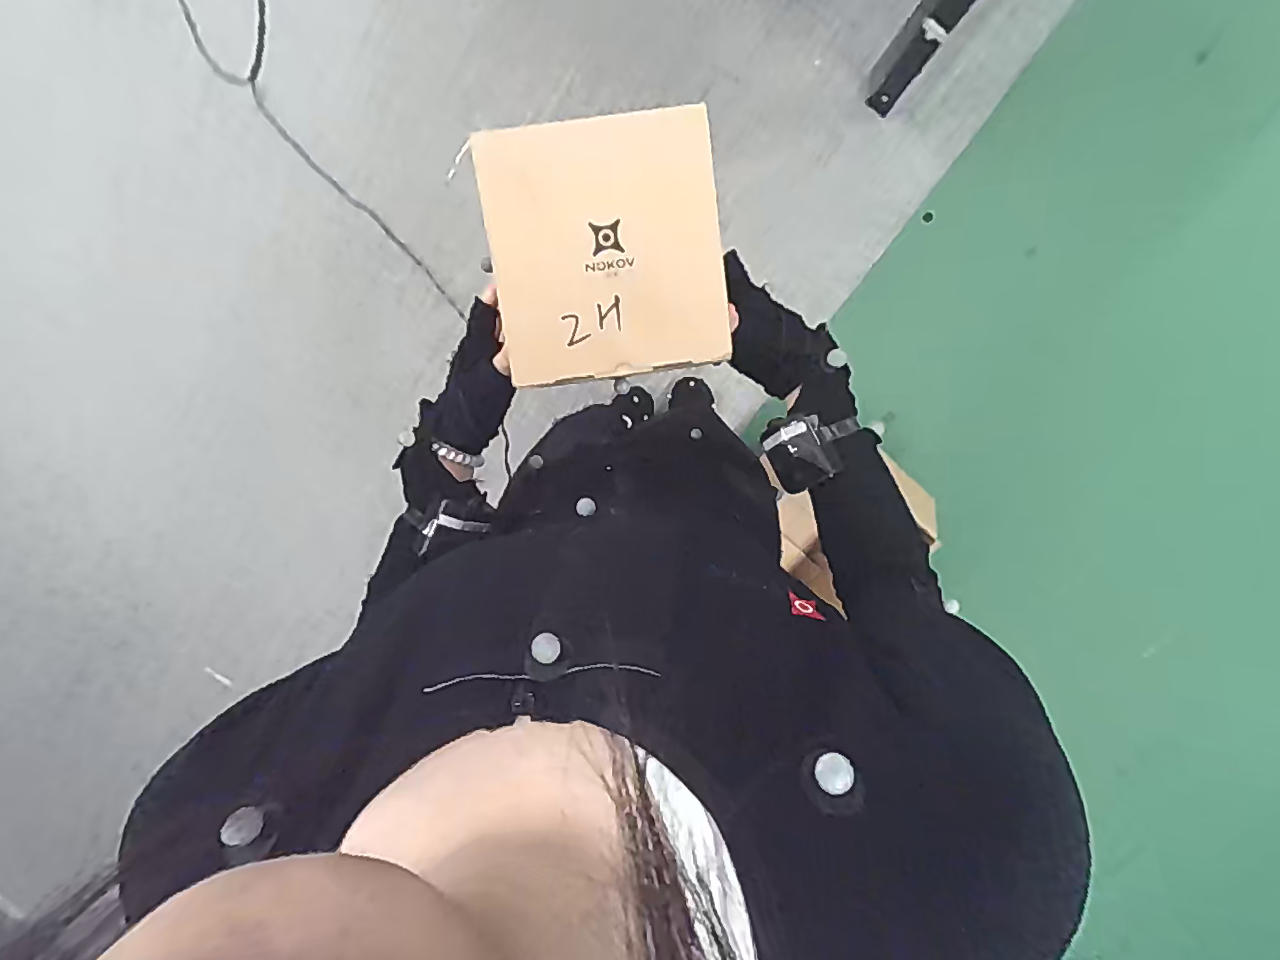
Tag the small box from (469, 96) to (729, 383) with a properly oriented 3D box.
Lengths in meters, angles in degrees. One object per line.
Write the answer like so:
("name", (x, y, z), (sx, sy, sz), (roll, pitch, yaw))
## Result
("small box", (-0.030, -0.181, 0.460), (0.168, 0.176, 0.179), (-9, 100, -1))
